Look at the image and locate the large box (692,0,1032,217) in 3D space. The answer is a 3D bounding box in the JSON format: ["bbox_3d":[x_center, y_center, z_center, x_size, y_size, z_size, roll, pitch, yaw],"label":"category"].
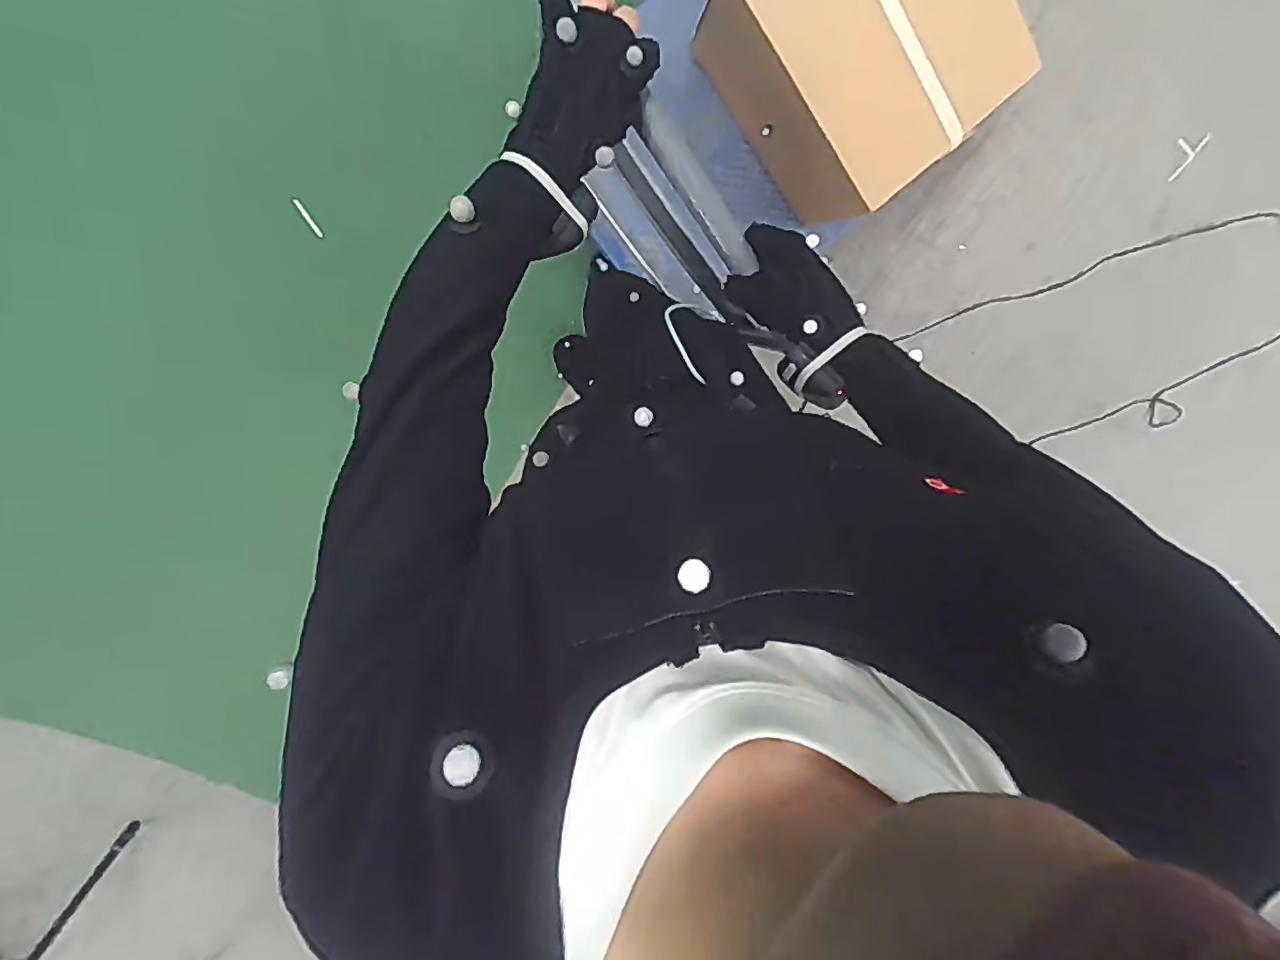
[{"bbox_3d":[0.345,-0.731,0.924,0.320,0.320,0.408,-39,109,10],"label":"large box"}]
